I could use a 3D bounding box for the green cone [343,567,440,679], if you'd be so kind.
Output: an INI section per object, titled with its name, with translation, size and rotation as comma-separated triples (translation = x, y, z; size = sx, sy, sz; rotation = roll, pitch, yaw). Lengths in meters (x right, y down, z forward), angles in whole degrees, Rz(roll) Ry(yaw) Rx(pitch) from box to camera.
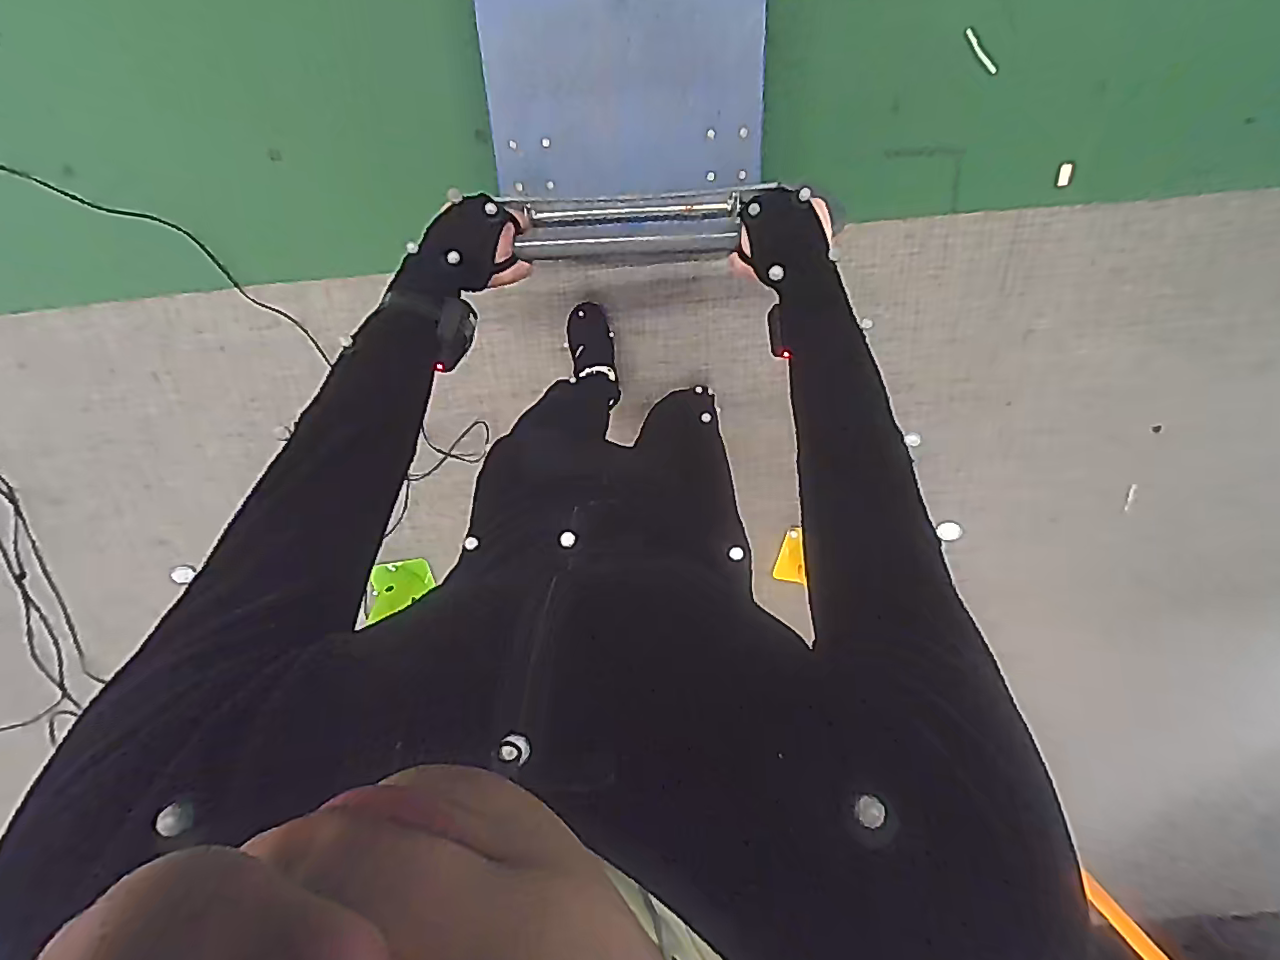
[green cone]
translation = -0.772, 0.444, 1.609
size = 0.202, 0.368, 0.200
rotation = -8, 113, 3
